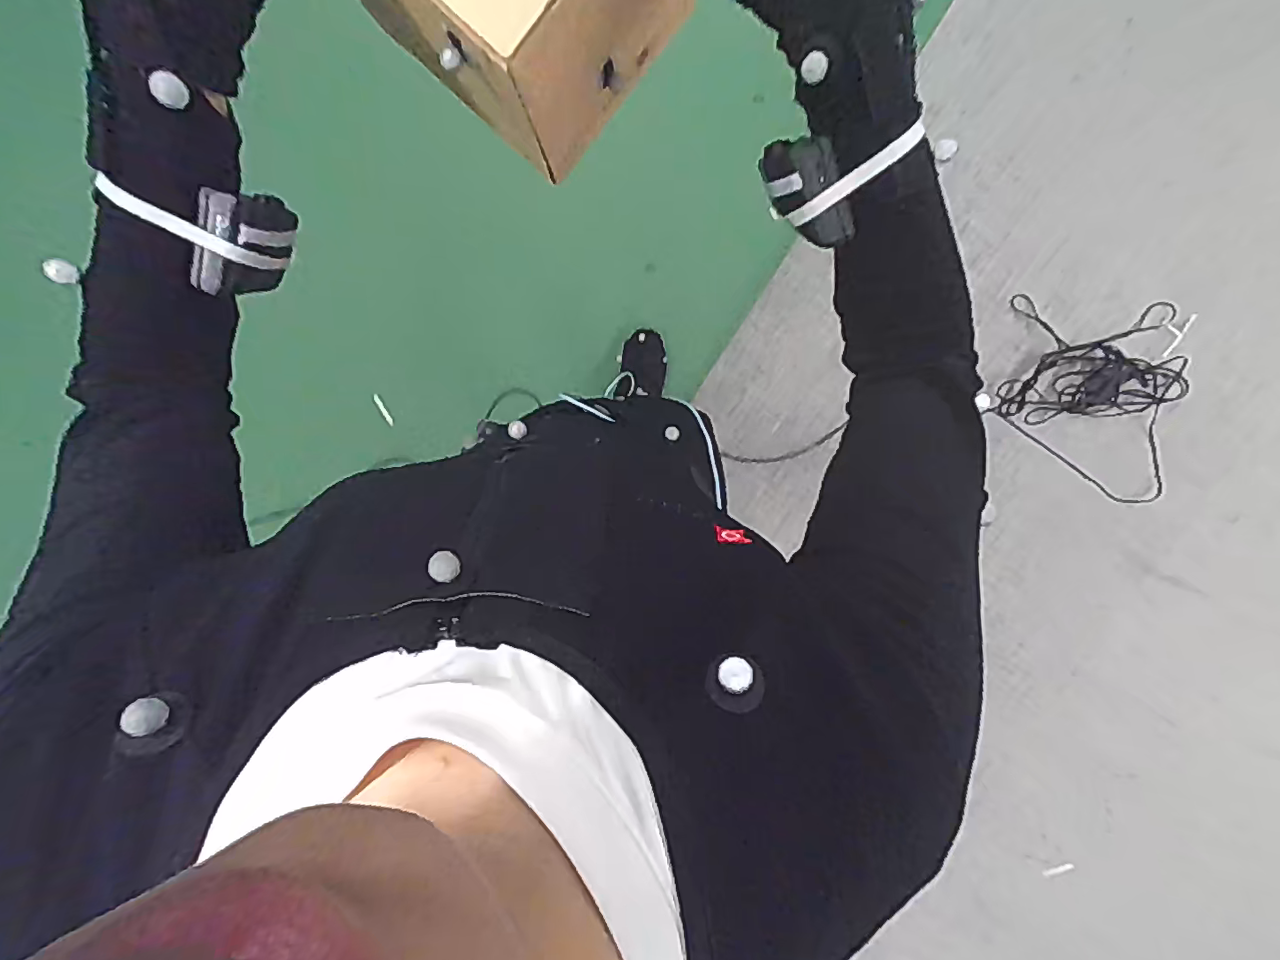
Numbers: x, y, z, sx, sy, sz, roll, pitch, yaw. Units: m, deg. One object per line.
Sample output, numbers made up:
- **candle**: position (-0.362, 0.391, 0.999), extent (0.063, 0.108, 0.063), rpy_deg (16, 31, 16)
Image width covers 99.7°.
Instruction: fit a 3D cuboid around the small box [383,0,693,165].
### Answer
- **small box**: position (-0.072, -0.341, 0.333), extent (0.179, 0.176, 0.168), rpy_deg (40, 97, -8)
